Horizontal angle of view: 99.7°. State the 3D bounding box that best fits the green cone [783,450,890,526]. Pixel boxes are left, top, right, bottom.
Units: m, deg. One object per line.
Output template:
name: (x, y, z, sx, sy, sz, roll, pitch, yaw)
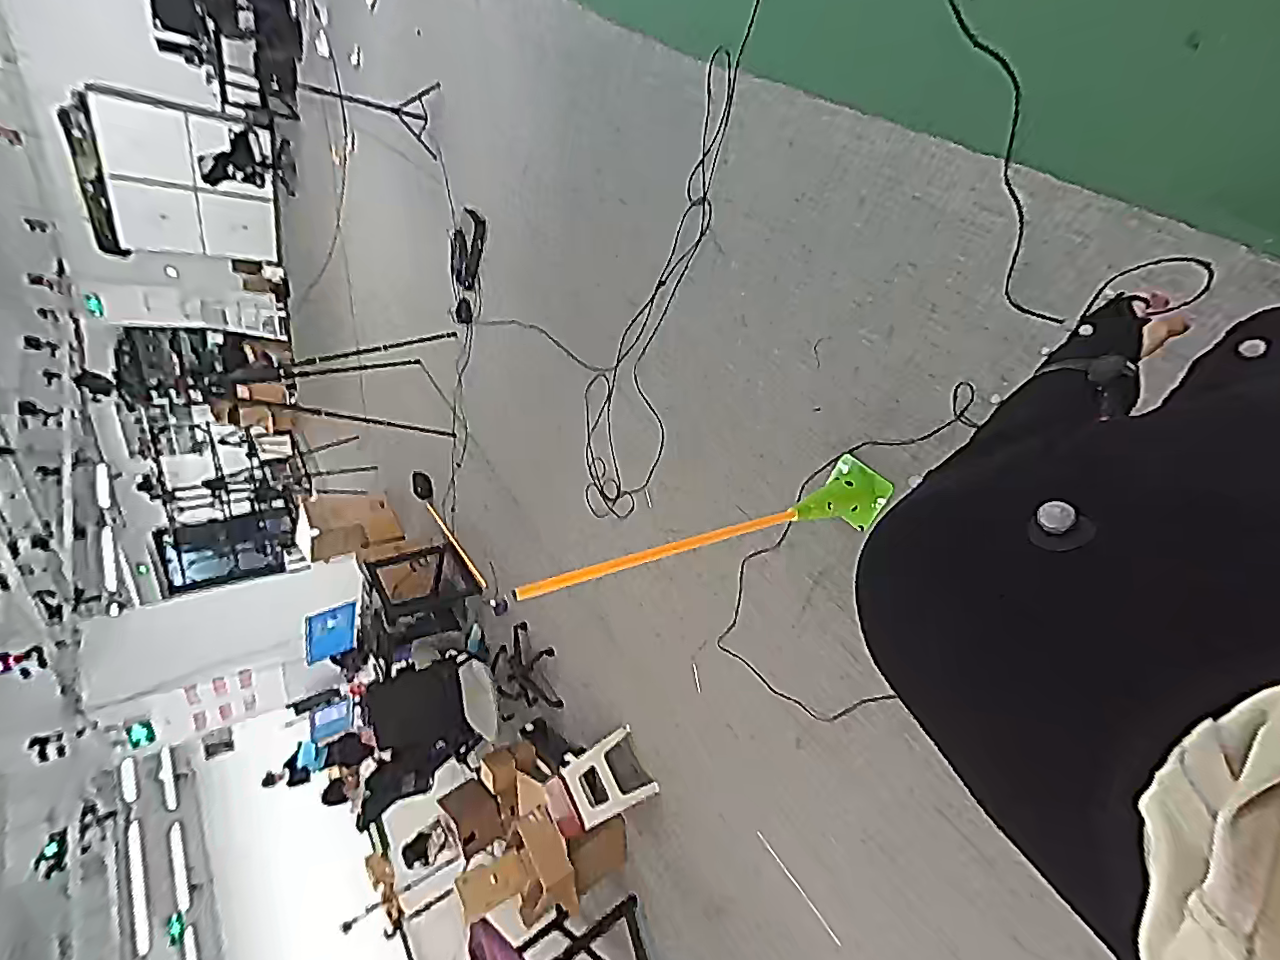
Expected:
green cone: (0.576, 0.052, 1.692, 0.202, 0.368, 0.200, 46, 131, 35)
